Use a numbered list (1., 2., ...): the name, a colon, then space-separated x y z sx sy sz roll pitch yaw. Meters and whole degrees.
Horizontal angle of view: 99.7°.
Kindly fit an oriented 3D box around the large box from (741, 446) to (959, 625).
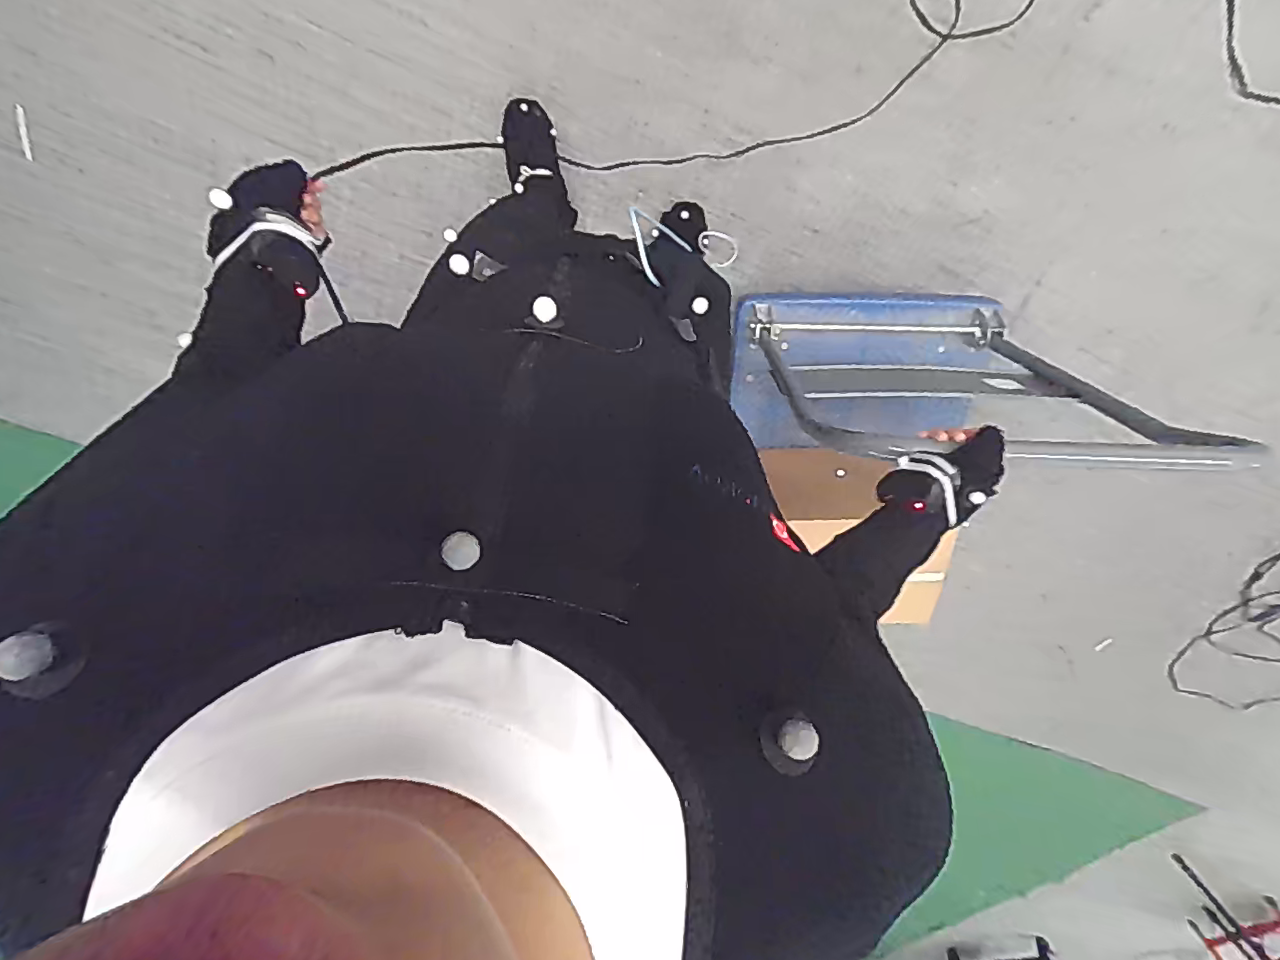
1. large box: 0.470 0.129 1.323 0.408 0.320 0.320 -2 123 2
